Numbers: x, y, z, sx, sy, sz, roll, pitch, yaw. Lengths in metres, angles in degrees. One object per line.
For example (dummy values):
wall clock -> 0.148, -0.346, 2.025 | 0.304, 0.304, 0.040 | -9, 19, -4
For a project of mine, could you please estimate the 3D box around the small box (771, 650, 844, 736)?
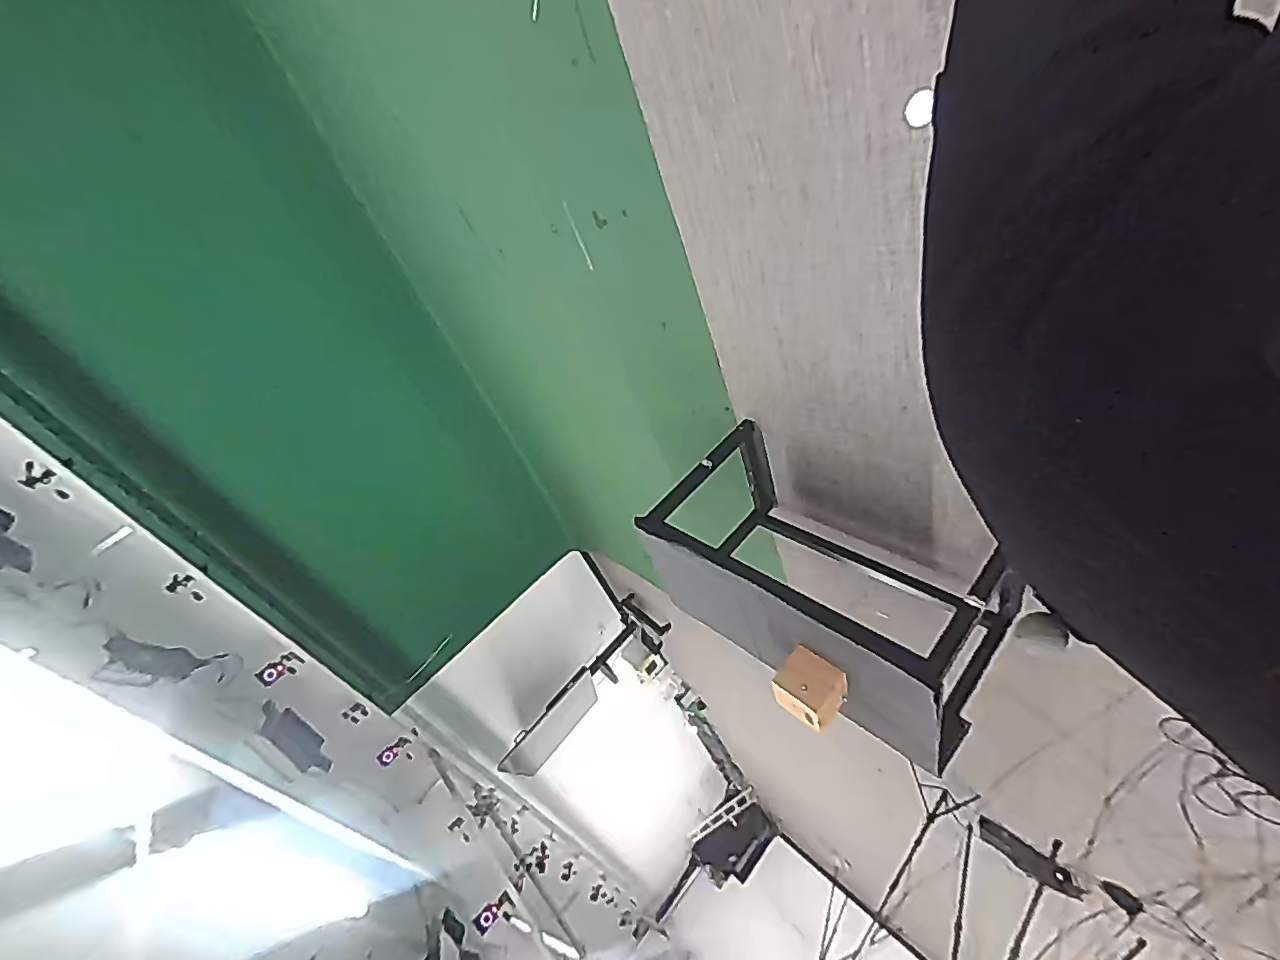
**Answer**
small box -> 0.563, 0.700, 1.794 | 0.179, 0.176, 0.168 | 27, 149, 41
